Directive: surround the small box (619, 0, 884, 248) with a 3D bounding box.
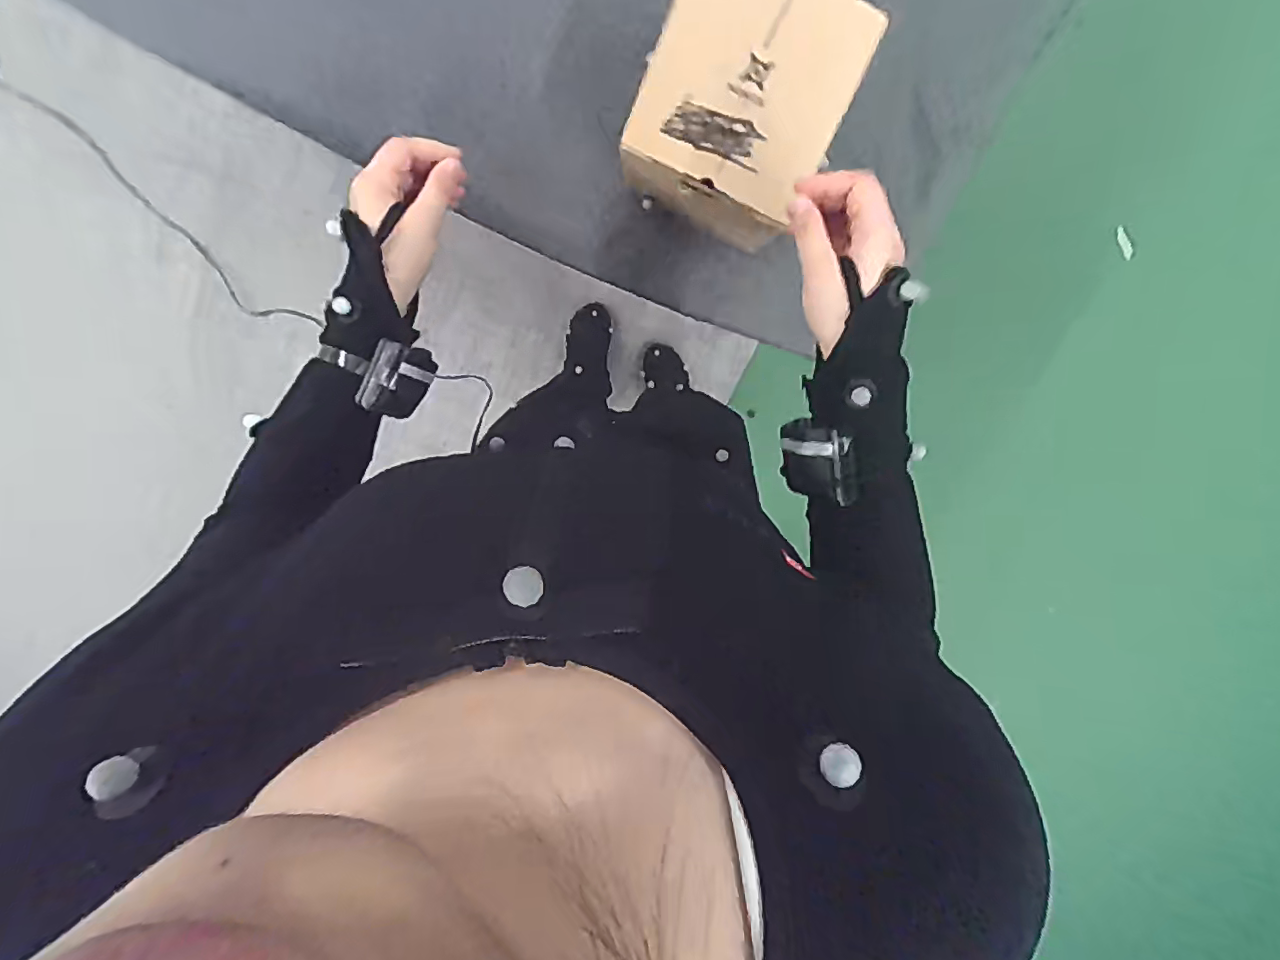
[{"bbox_3d":[0.092,-0.350,0.528,0.168,0.176,0.179,24,104,-7],"label":"small box"}]

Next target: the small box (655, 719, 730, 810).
[{"bbox_3d":[0.162,0.906,1.738,0.179,0.176,0.168,31,107,-10],"label":"small box"}]
